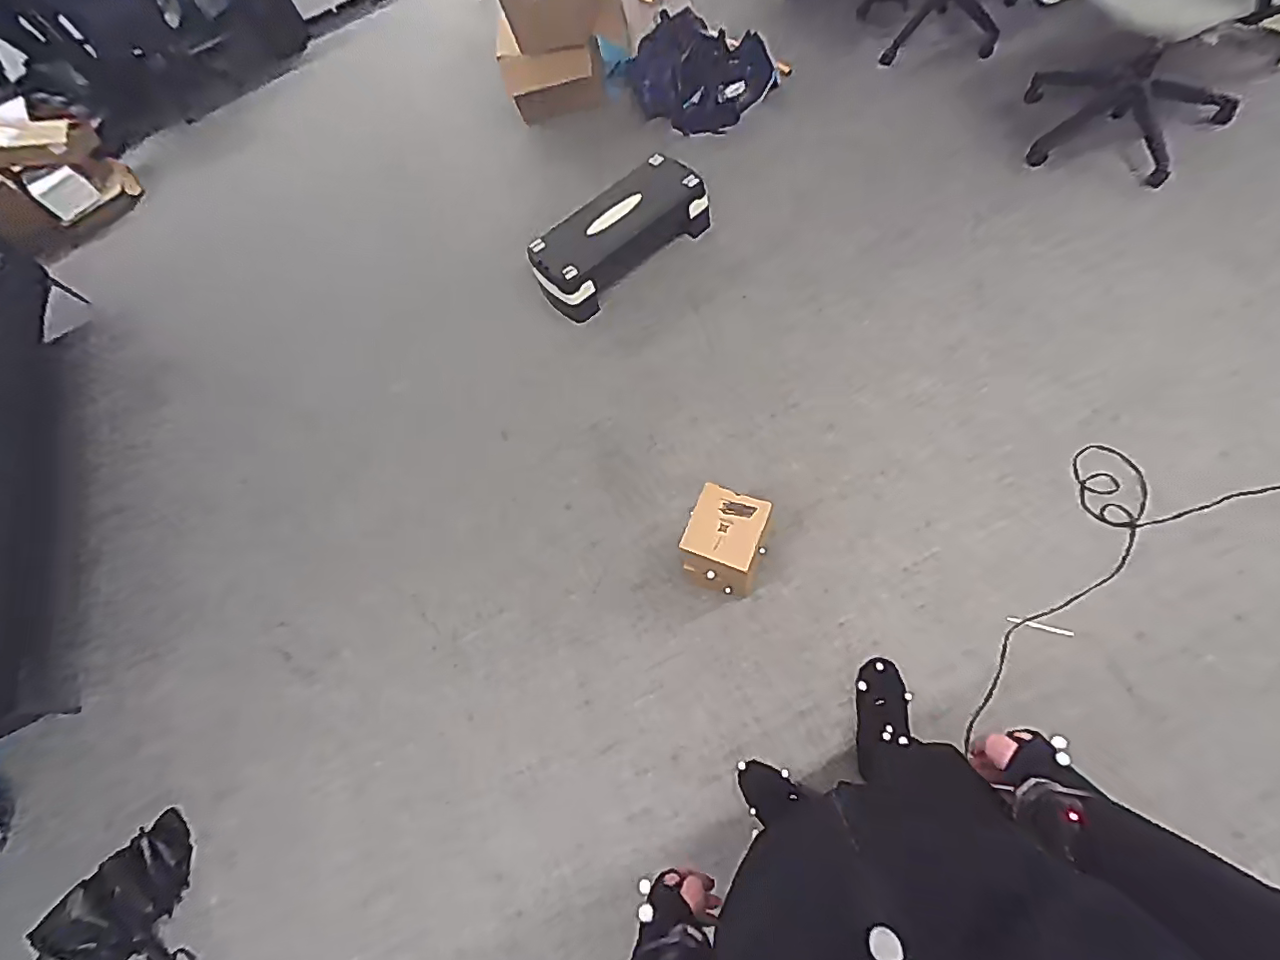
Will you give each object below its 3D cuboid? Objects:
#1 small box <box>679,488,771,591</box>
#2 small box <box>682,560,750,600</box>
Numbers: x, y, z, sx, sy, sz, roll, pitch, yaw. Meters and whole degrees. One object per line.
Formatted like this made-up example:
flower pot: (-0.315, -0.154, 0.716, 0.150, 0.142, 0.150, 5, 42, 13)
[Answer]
small box: (0.208, 0.149, 1.317, 0.168, 0.176, 0.179, 19, 71, 19)
small box: (0.222, 0.212, 1.469, 0.168, 0.176, 0.179, 11, 67, 16)
